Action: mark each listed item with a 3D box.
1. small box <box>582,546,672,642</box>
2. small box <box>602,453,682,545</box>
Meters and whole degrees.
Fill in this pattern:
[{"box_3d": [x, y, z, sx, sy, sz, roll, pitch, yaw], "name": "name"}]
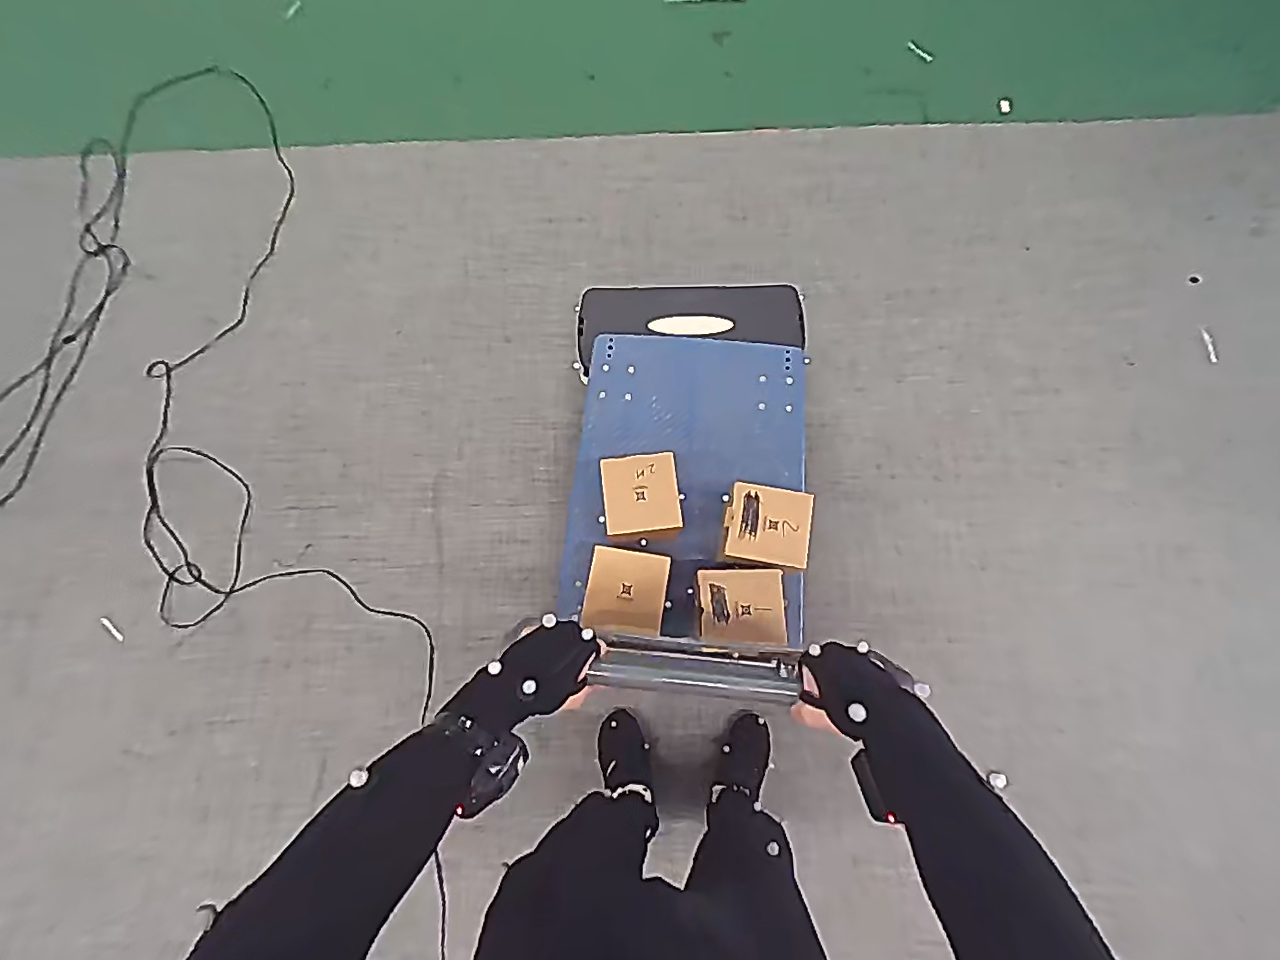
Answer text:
[{"box_3d": [-0.027, 0.257, 1.200, 0.168, 0.176, 0.179, 9, 74, 3], "name": "small box"}, {"box_3d": [0.005, 0.052, 1.258, 0.168, 0.176, 0.179, -6, 73, -1], "name": "small box"}]
